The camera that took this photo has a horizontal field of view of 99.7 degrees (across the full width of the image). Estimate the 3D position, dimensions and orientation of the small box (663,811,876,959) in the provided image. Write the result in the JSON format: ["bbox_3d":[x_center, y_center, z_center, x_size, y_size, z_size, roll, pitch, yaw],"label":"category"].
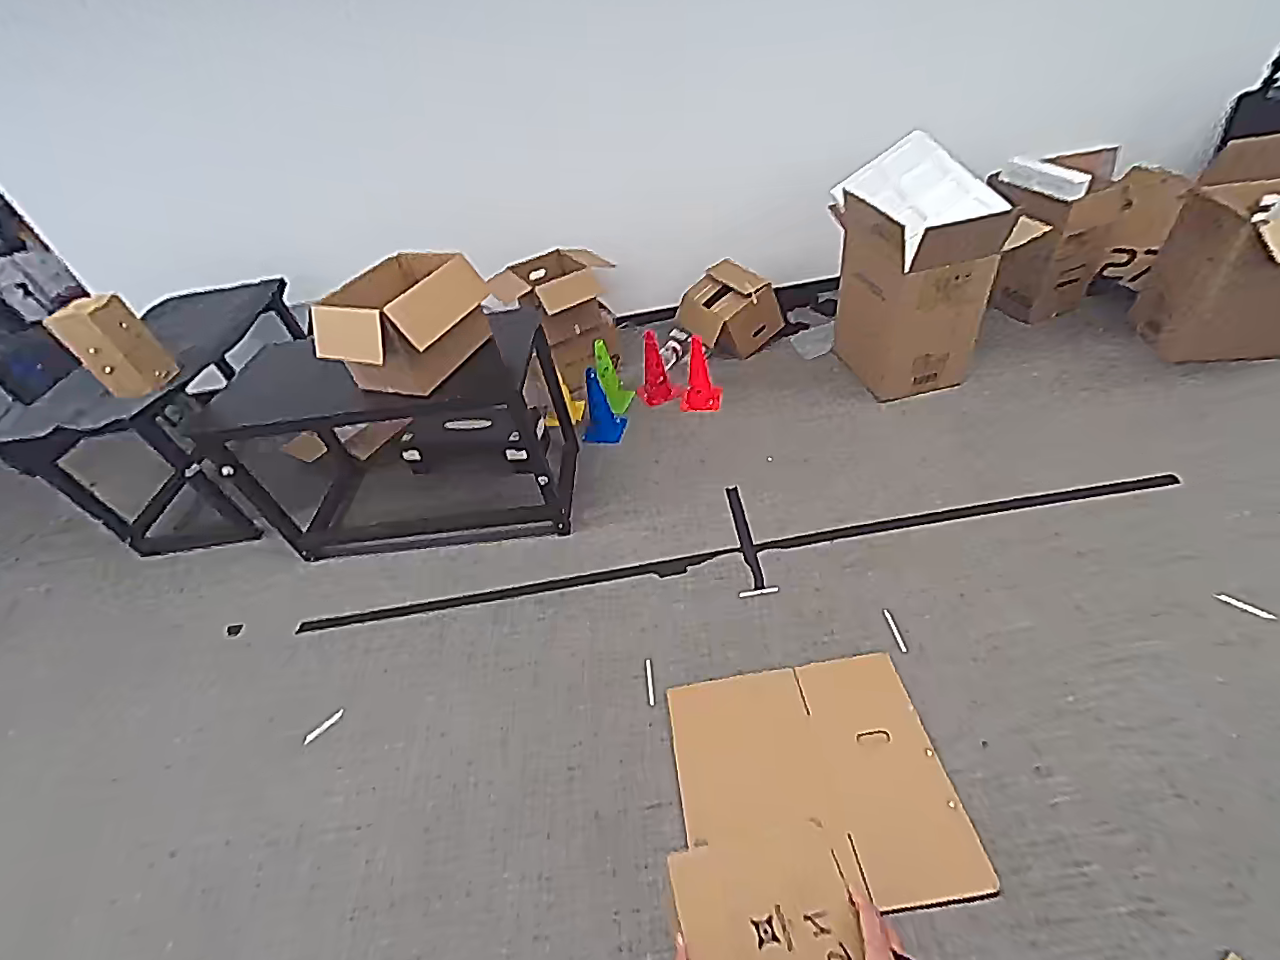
[{"bbox_3d":[0.126,0.487,0.573,0.179,0.176,0.168,-8,42,-9],"label":"small box"}]
